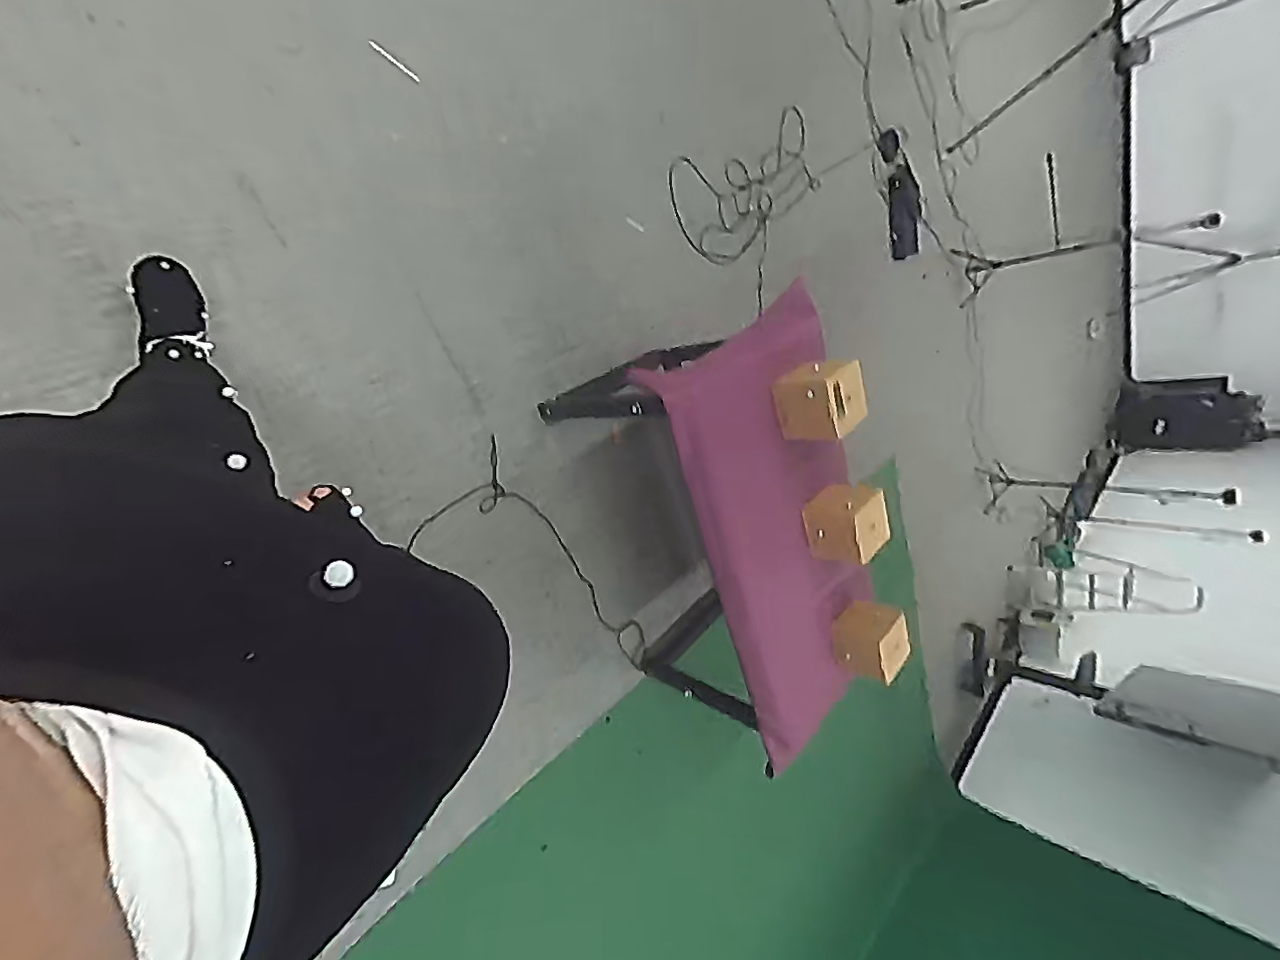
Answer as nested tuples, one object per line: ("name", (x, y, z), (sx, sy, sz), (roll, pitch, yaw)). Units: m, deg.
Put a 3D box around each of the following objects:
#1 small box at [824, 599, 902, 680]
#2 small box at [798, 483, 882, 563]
("small box", (0.735, 0.516, 1.783), (0.179, 0.176, 0.168), (-31, 113, -34))
("small box", (0.605, 0.122, 1.634), (0.179, 0.176, 0.168), (-32, 115, -33))
